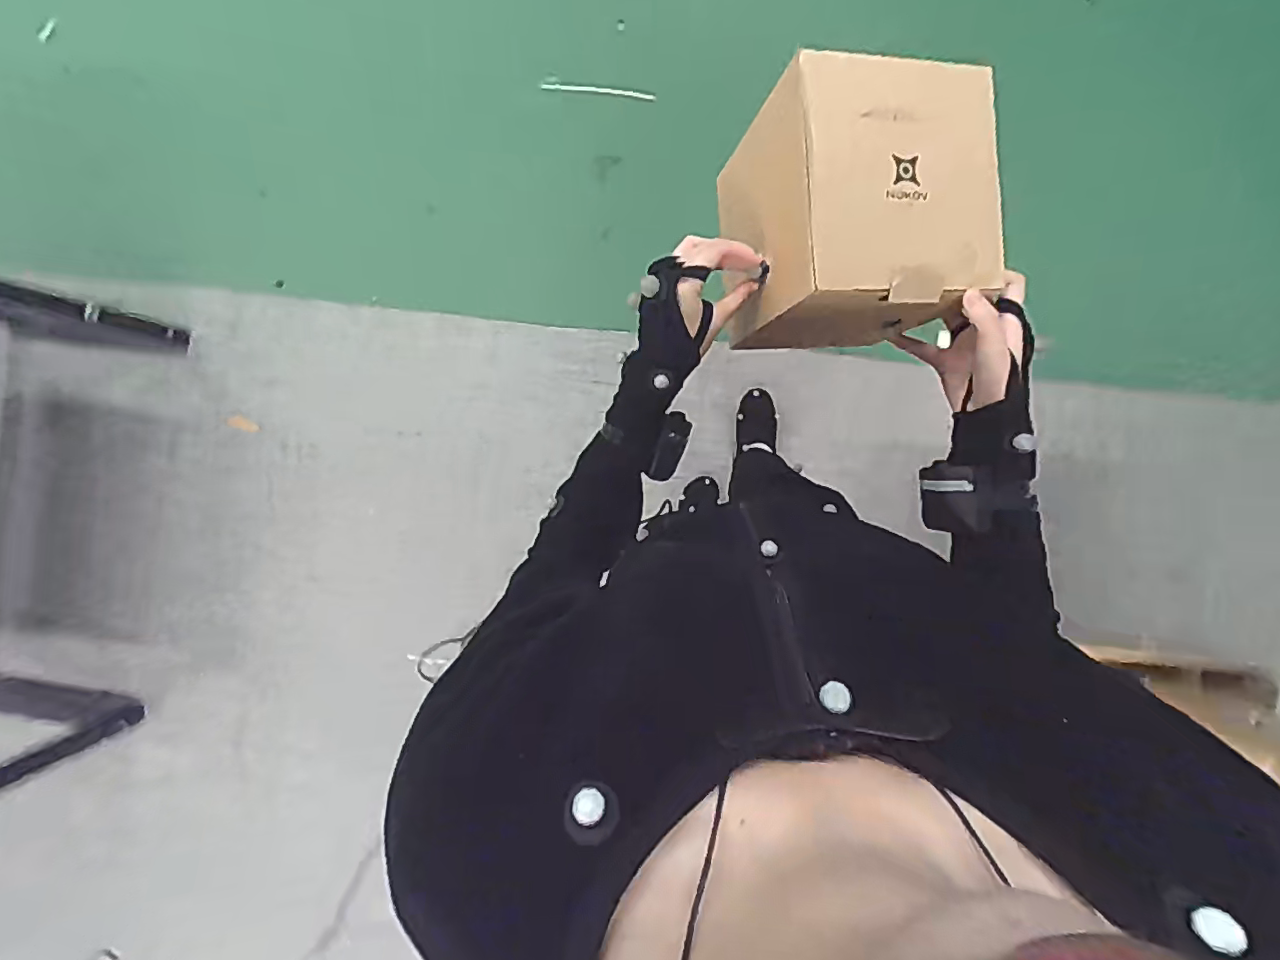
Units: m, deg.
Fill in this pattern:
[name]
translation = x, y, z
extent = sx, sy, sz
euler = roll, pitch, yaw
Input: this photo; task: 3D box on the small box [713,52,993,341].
[small box]
translation = 0.174, -0.227, 0.484
extent = 0.168, 0.176, 0.179
euler = -5, 89, -12
